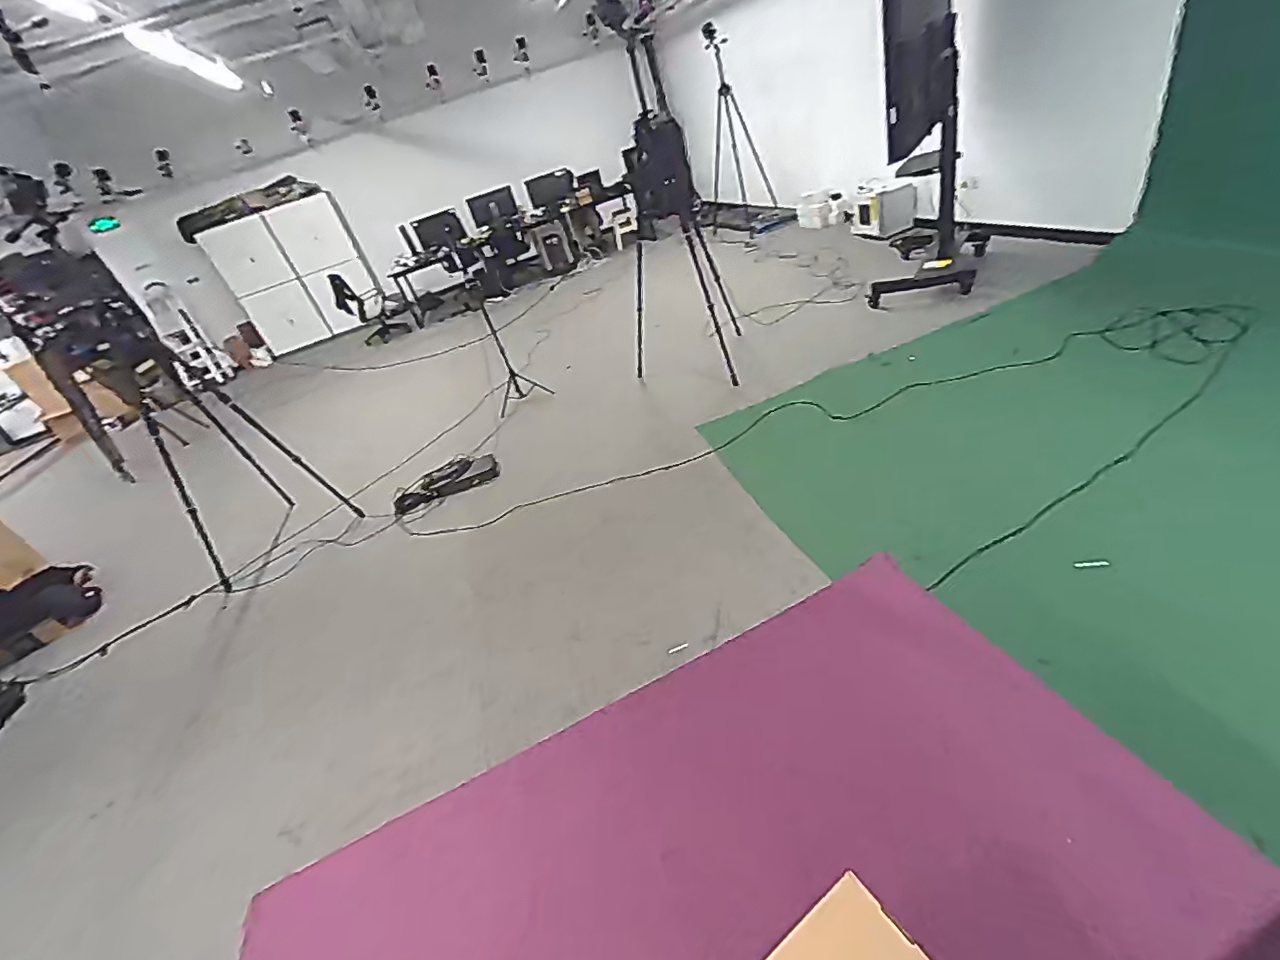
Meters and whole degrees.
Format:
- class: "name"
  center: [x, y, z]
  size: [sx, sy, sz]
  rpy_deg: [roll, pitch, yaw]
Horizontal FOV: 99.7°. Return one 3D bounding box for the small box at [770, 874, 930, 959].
- class: "small box"
  center: [0.173, 0.465, 0.418]
  size: [0.179, 0.176, 0.168]
  rpy_deg: [-33, 42, -17]
